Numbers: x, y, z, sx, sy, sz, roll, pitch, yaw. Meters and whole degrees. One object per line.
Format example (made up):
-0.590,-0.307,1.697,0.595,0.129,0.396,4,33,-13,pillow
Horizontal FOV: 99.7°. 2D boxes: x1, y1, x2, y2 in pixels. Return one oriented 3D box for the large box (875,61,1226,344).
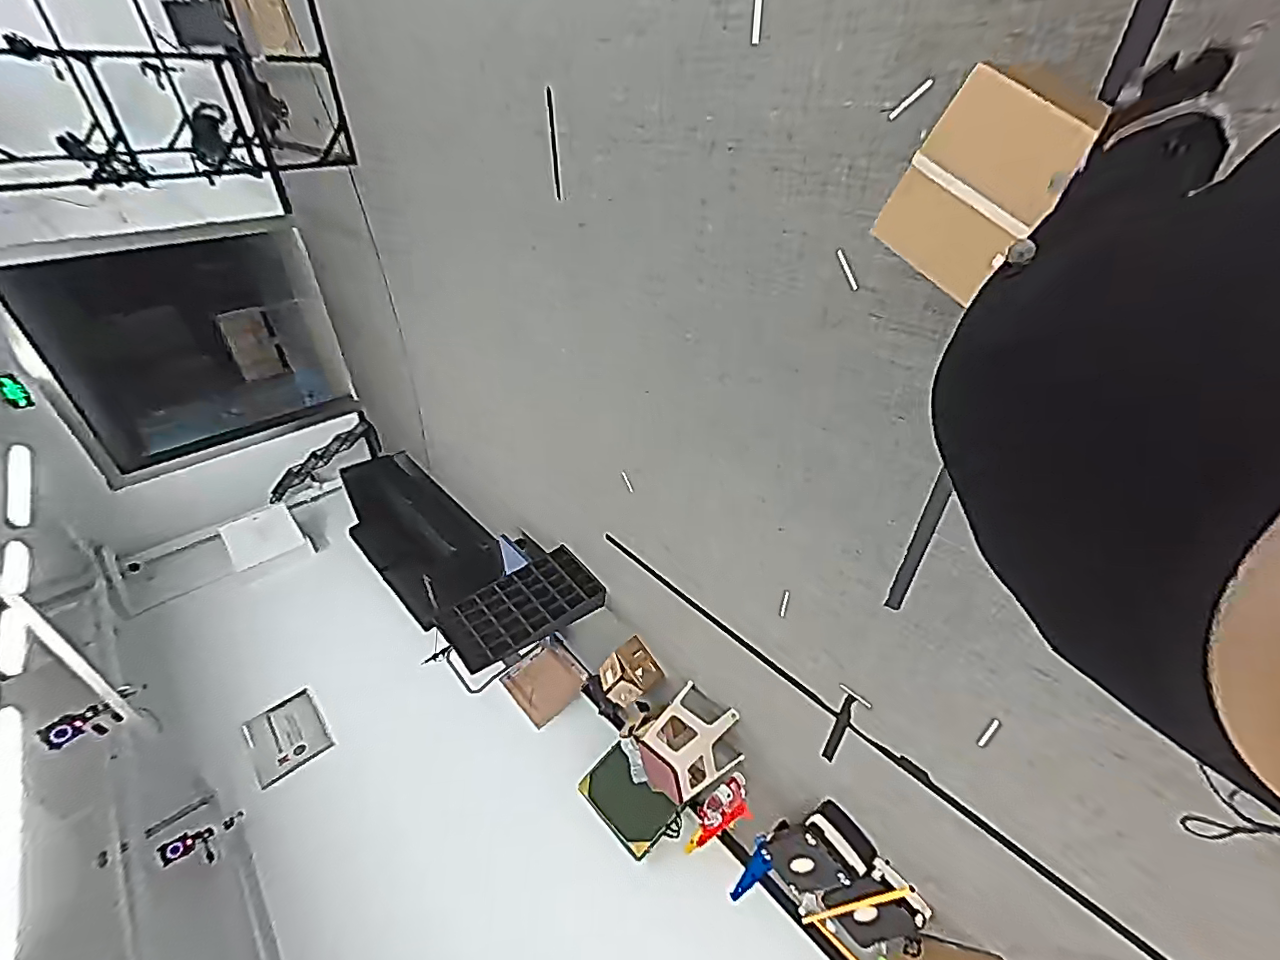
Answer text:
0.763,-0.539,1.042,0.408,0.320,0.320,49,145,18,large box
